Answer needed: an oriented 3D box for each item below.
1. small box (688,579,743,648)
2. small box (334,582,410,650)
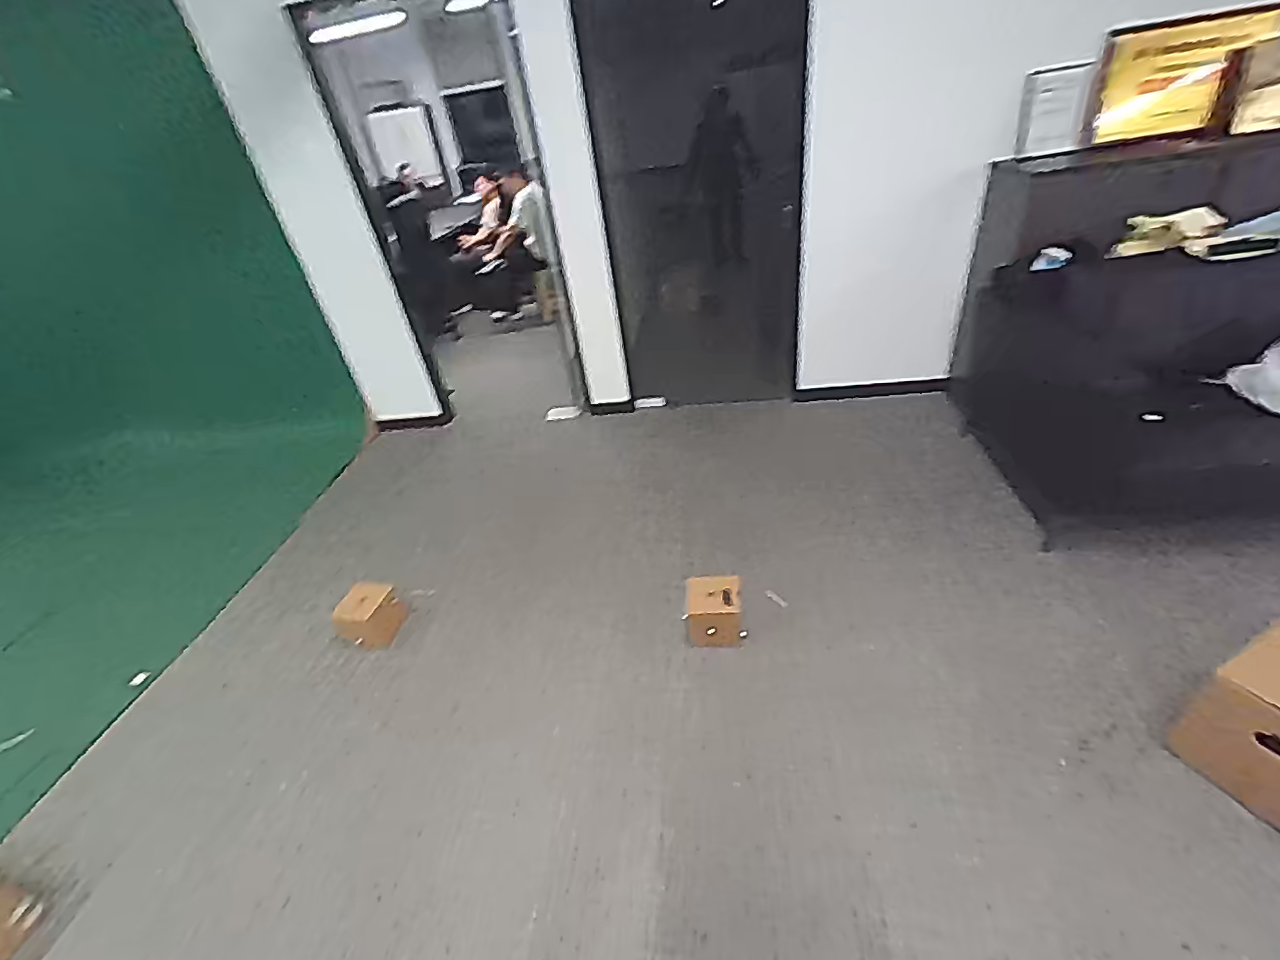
[{"bbox_3d":[0.260,0.455,1.841,0.179,0.176,0.168,-2,35,10],"label":"small box"},{"bbox_3d":[-0.996,0.508,2.031,0.168,0.176,0.179,0,36,14],"label":"small box"}]
